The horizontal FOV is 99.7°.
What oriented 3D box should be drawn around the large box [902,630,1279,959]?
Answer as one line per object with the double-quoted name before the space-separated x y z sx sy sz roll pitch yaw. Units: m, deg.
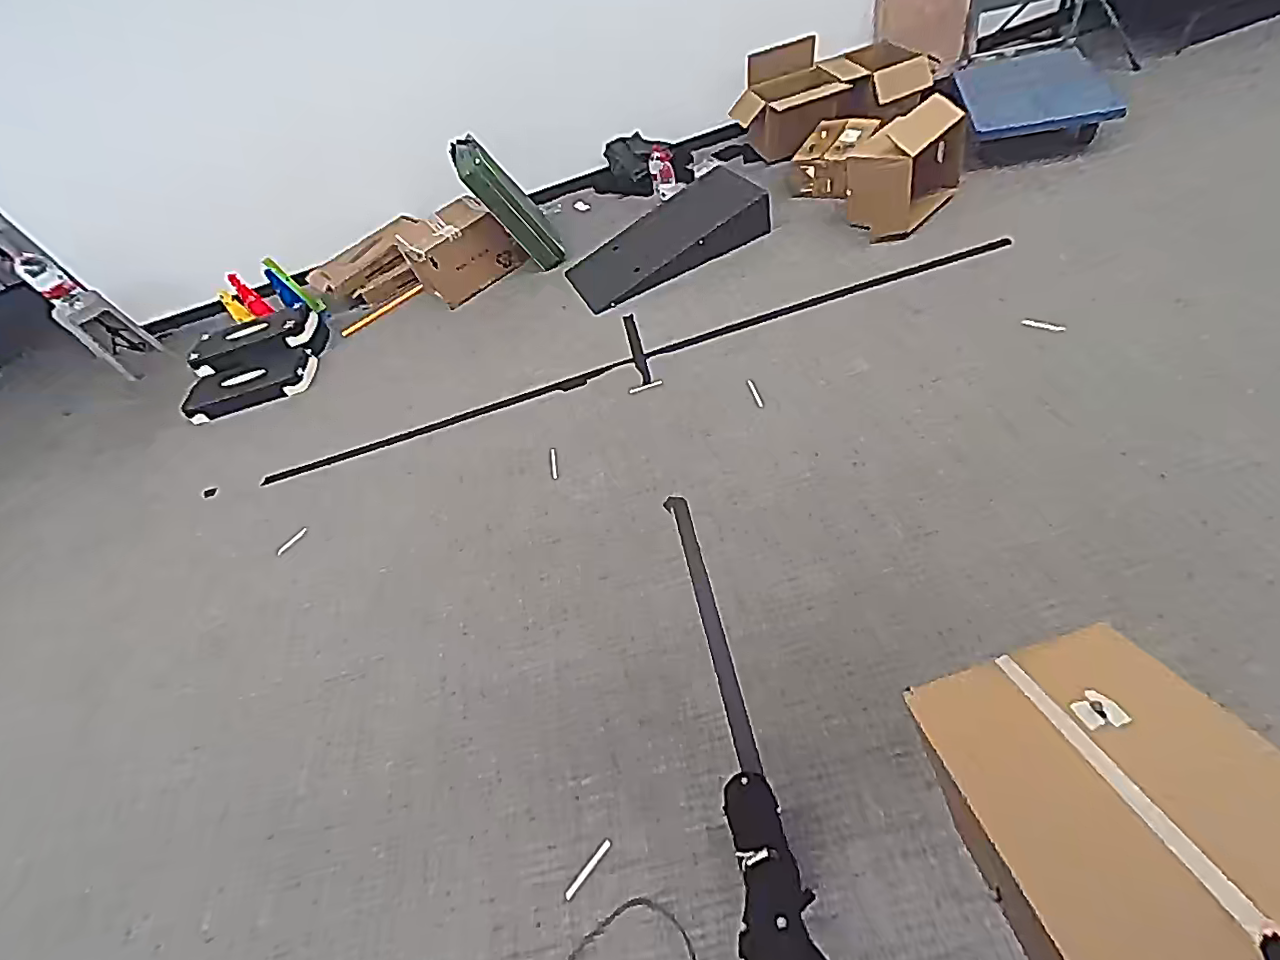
"large box" 0.618 0.478 0.697 0.320 0.320 0.408 -23 17 8
